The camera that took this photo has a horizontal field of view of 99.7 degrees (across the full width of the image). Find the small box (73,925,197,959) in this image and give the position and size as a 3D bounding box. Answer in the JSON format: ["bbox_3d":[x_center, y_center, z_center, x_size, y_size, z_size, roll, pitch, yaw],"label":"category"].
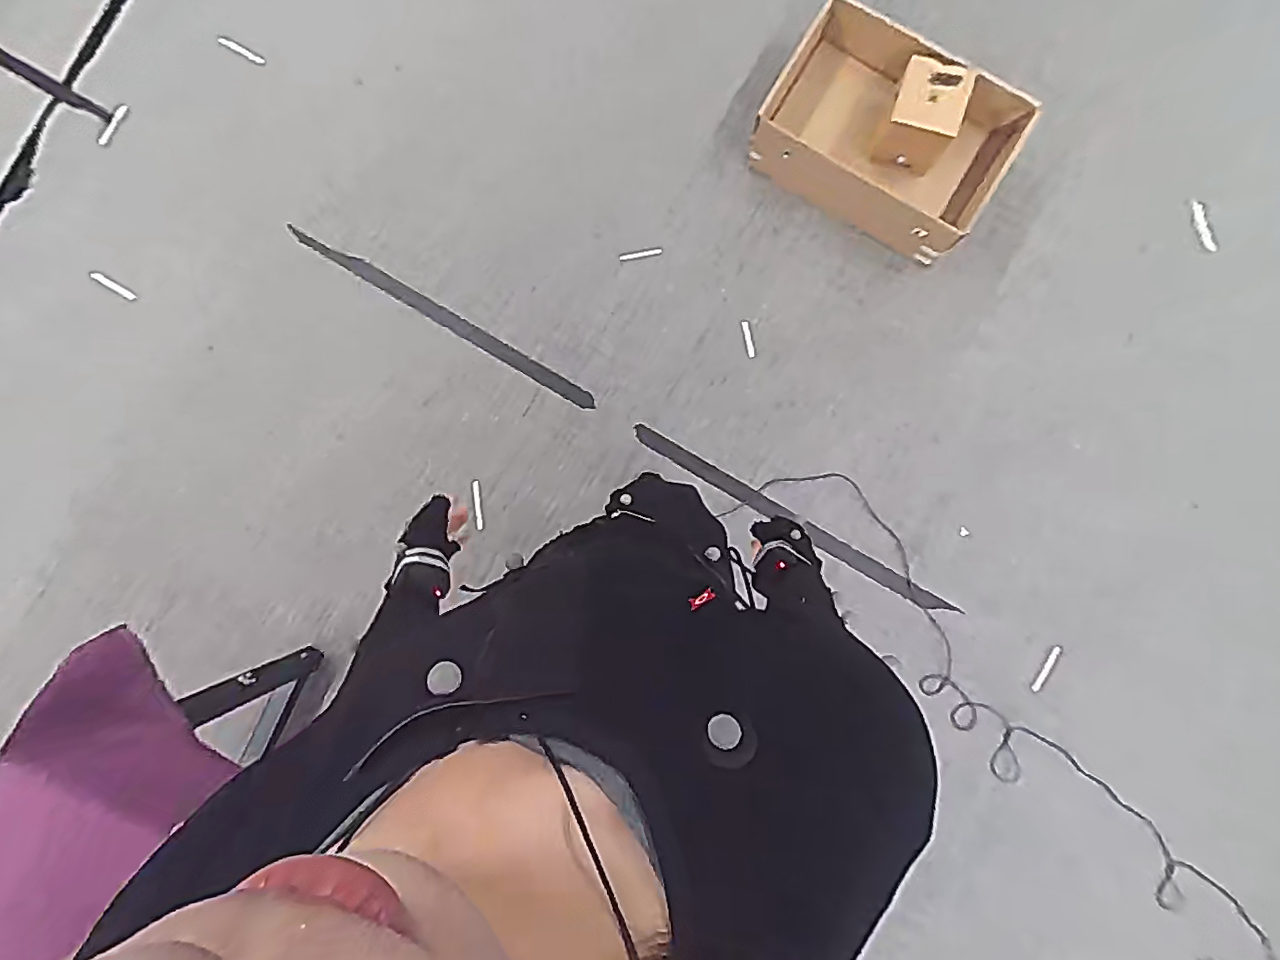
[{"bbox_3d":[-0.709,0.736,0.695,0.179,0.176,0.168,26,88,2],"label":"small box"}]
